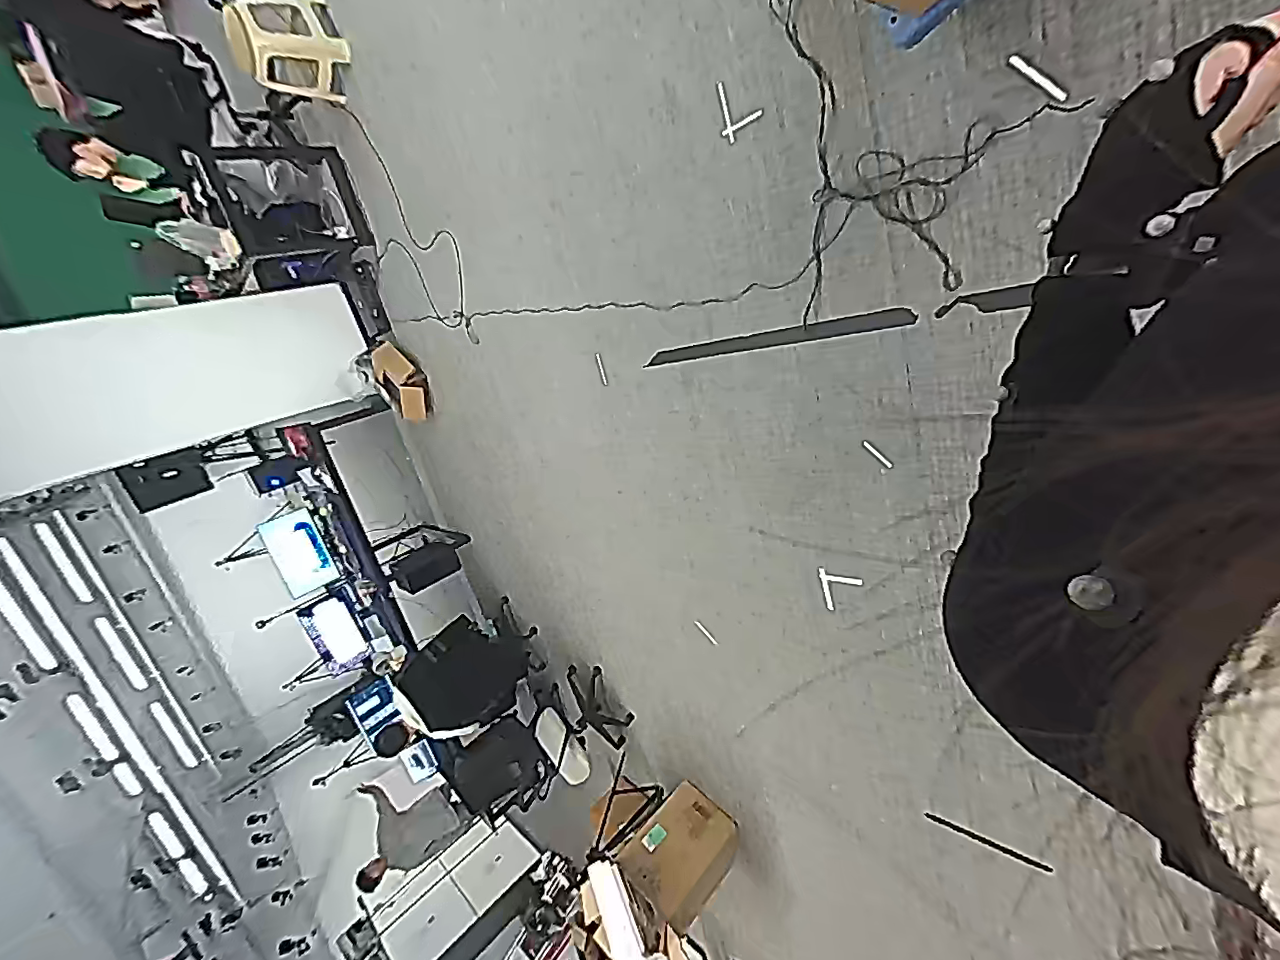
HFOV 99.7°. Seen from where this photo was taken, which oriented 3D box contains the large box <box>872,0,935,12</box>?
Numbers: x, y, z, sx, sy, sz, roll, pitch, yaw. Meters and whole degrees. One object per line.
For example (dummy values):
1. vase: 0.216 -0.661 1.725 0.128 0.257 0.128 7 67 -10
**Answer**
1. large box: 0.469 -0.979 0.746 0.408 0.320 0.320 -16 100 52
